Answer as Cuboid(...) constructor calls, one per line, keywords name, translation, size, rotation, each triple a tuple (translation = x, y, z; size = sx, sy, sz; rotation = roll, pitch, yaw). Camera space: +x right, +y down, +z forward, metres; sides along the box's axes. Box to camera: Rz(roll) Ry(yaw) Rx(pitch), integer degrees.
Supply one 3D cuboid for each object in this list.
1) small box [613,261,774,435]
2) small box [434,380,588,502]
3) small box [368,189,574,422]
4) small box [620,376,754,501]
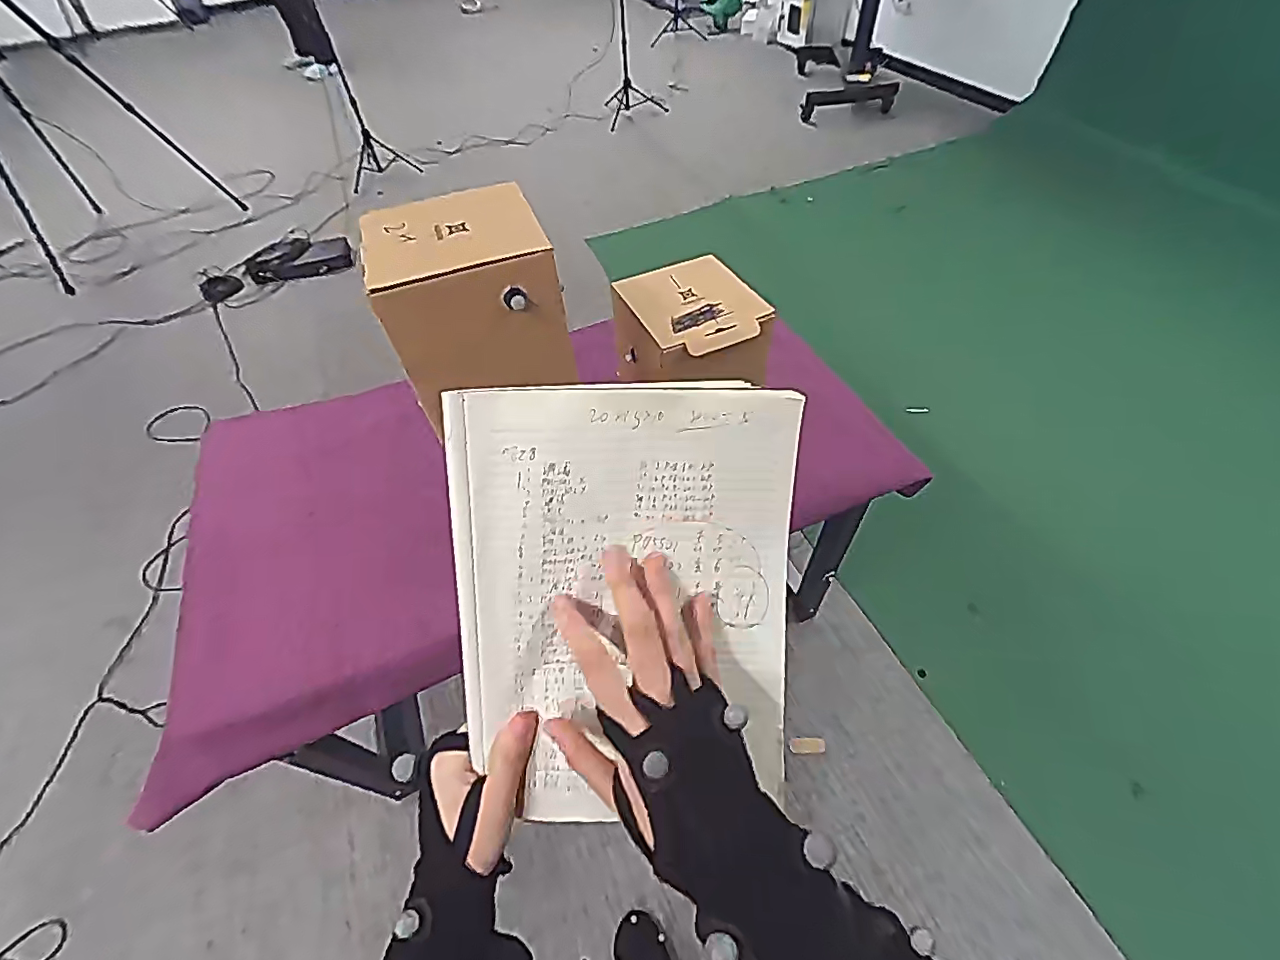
Cuboid(name="small box", translation=(0.073, -0.186, 0.795), size=(0.168, 0.176, 0.179), rotation=(-20, 52, -13))
Cuboid(name="small box", translation=(-0.179, -0.091, 0.737), size=(0.168, 0.176, 0.179), rotation=(-20, 52, -11))
Cuboid(name="small box", translation=(-0.179, -0.193, 0.607), size=(0.179, 0.176, 0.168), rotation=(-18, 51, -10))
Cuboid(name="small box", translation=(0.076, -0.085, 0.924), size=(0.168, 0.176, 0.179), rotation=(-19, 52, -12))
